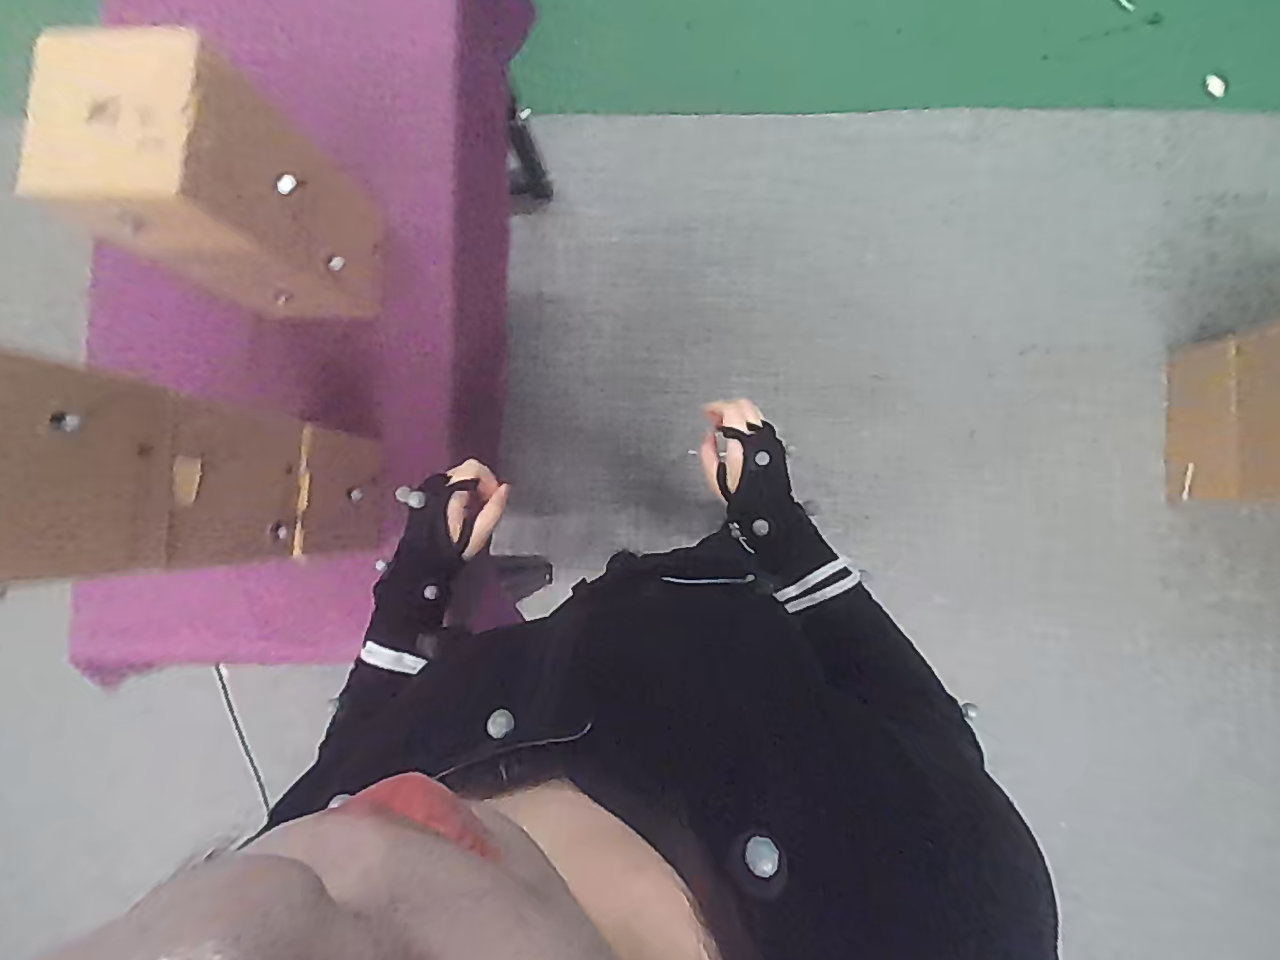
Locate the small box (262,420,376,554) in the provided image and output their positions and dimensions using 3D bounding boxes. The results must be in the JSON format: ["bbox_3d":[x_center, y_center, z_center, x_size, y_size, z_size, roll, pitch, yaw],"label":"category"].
[{"bbox_3d":[-0.489,0.009,0.741,0.179,0.176,0.168,2,86,3],"label":"small box"}]

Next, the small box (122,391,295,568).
[{"bbox_3d":[-0.507,-0.003,0.577,0.179,0.176,0.168,3,87,5],"label":"small box"}]

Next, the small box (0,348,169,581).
[{"bbox_3d":[-0.516,-0.011,0.415,0.179,0.176,0.168,1,86,5],"label":"small box"}]
